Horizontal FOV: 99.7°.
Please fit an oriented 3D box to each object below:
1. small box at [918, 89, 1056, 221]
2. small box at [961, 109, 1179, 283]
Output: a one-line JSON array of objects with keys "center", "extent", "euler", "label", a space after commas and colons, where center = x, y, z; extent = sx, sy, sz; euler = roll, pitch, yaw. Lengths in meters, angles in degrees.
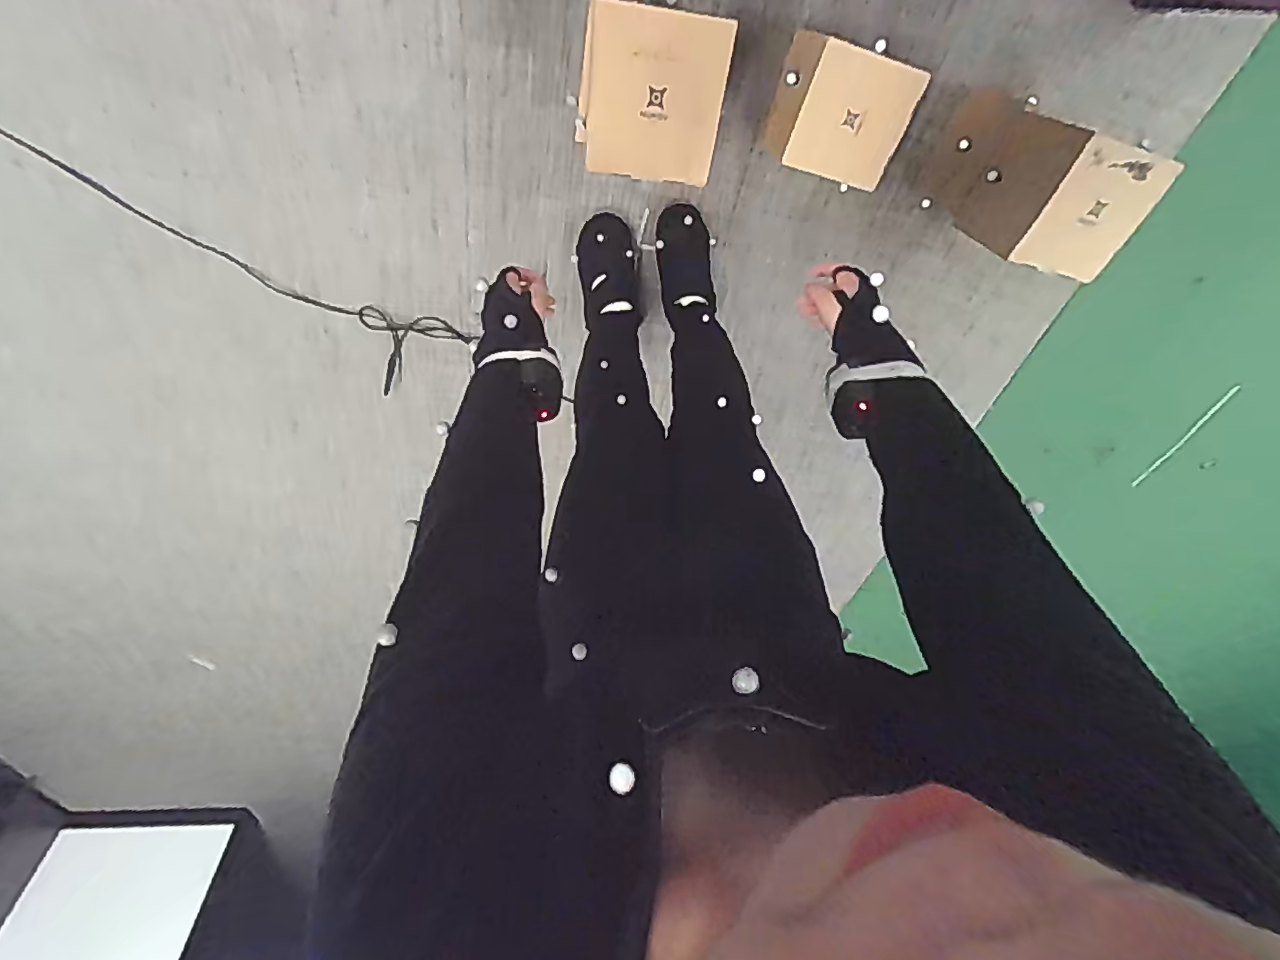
[{"center": [0.631, -0.558, 0.961], "extent": [0.168, 0.176, 0.179], "euler": [12, 129, -16], "label": "small box"}, {"center": [0.644, -0.442, 0.842], "extent": [0.168, 0.176, 0.179], "euler": [8, 132, -15], "label": "small box"}]
